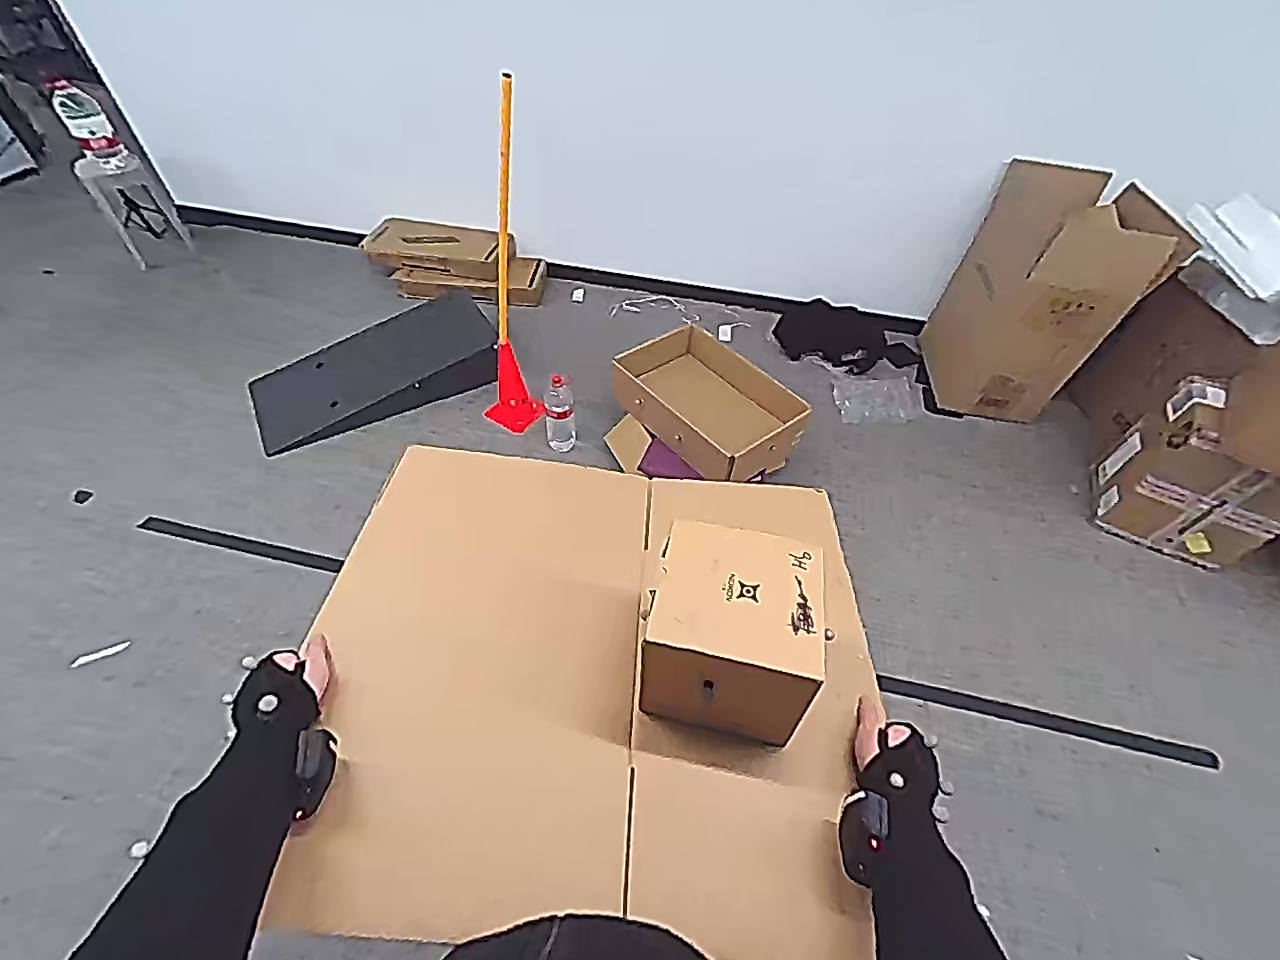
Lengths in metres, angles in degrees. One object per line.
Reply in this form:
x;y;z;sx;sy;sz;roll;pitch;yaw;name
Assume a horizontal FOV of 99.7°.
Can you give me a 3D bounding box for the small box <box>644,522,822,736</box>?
0.106;0.176;0.634;0.179;0.176;0.168;10;46;9;small box
